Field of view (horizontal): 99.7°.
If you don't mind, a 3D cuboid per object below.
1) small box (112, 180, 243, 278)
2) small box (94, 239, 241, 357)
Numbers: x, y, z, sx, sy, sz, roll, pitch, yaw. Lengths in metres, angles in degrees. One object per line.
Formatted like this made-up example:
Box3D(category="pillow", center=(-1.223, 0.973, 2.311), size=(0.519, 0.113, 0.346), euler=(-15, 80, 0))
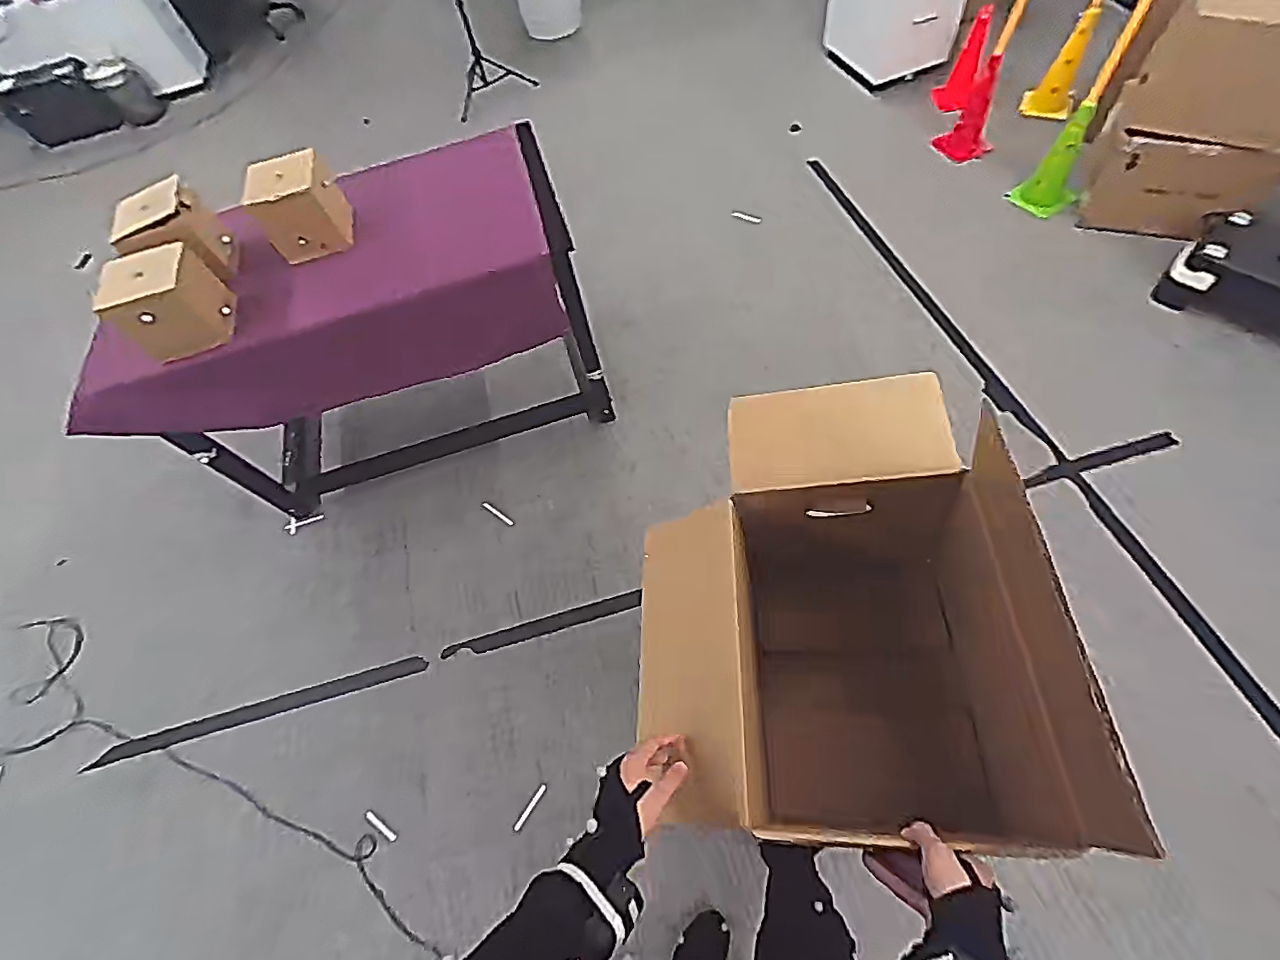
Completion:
Box3D(category="small box", center=(-1.144, -0.604, 1.351), size=(0.179, 0.176, 0.168), euler=(-19, 61, -4))
Box3D(category="small box", center=(-1.064, -0.408, 1.233), size=(0.179, 0.176, 0.168), euler=(-17, 61, -2))
